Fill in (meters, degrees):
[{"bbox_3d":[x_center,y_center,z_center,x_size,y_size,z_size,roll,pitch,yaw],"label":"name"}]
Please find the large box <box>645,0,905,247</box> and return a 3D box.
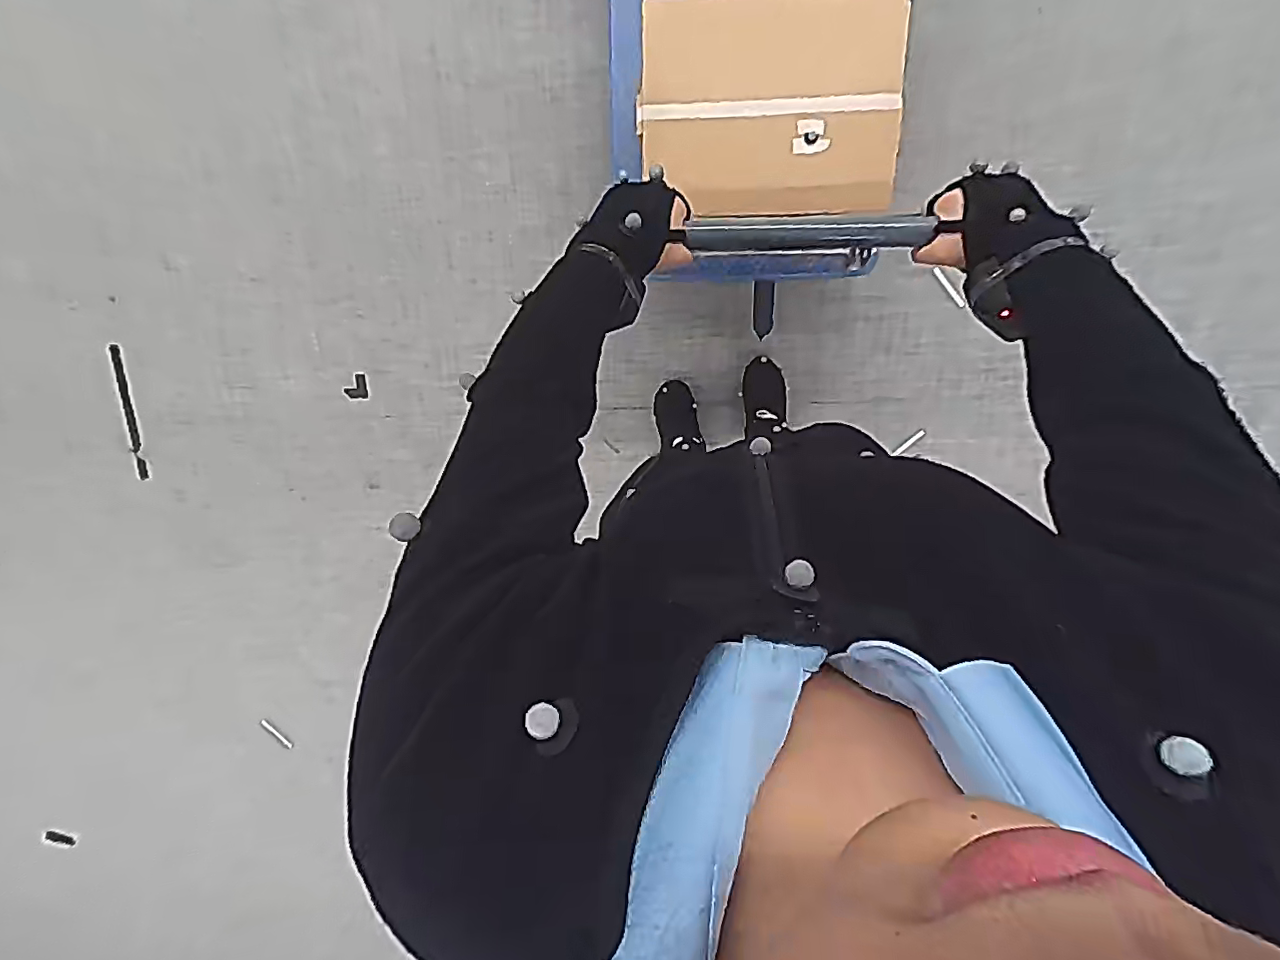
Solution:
[{"bbox_3d":[0.218,-0.633,1.016,0.408,0.320,0.320,0,106,4],"label":"large box"}]
